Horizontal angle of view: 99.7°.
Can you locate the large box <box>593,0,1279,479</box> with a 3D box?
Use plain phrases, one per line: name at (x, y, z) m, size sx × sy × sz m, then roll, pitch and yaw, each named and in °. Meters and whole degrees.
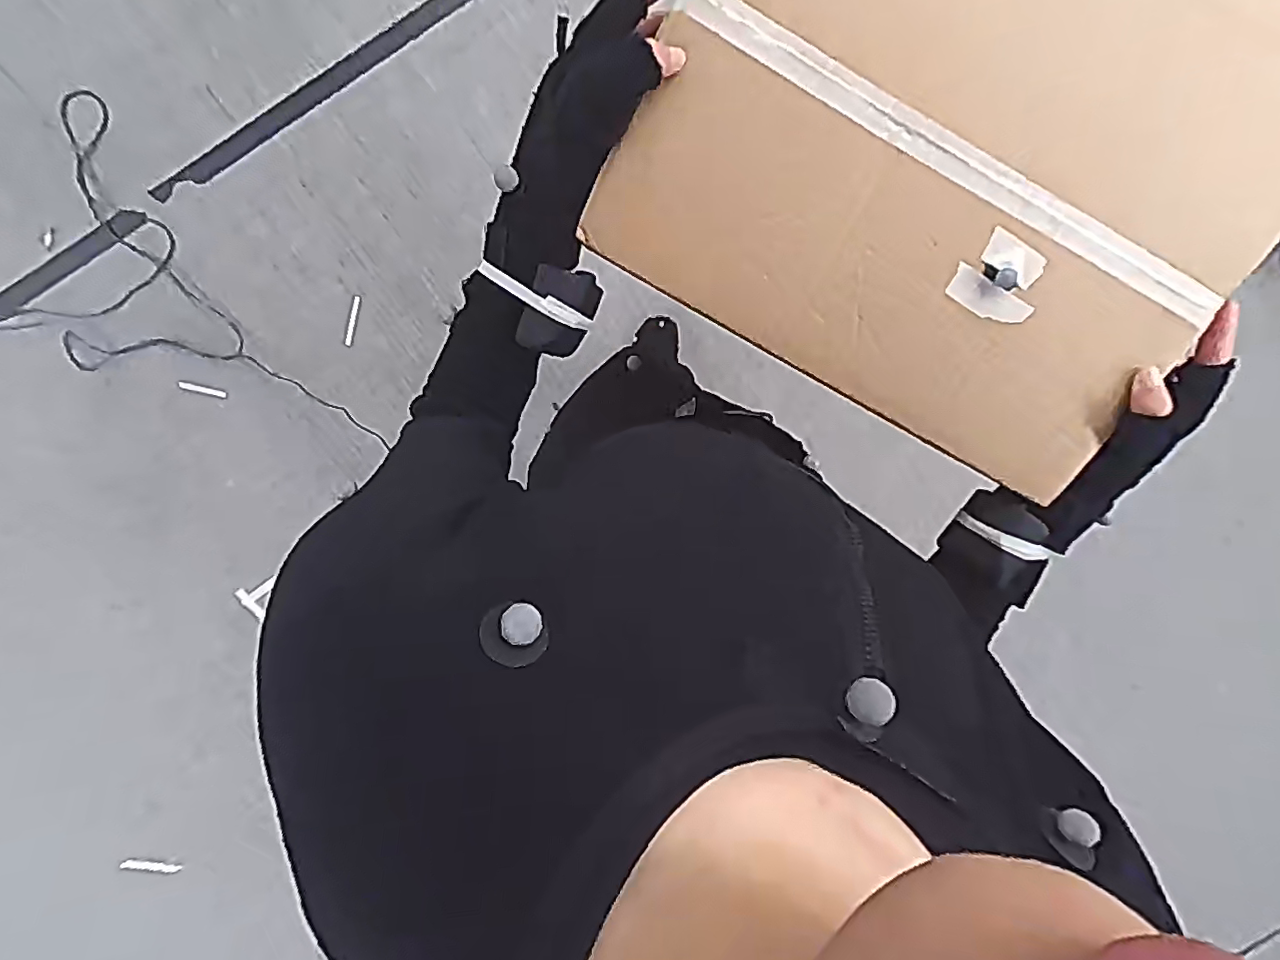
large box at (0.216, -0.262, 0.499) m, size 0.408 × 0.320 × 0.320 m, roll 29°, pitch 110°, yaw -5°
